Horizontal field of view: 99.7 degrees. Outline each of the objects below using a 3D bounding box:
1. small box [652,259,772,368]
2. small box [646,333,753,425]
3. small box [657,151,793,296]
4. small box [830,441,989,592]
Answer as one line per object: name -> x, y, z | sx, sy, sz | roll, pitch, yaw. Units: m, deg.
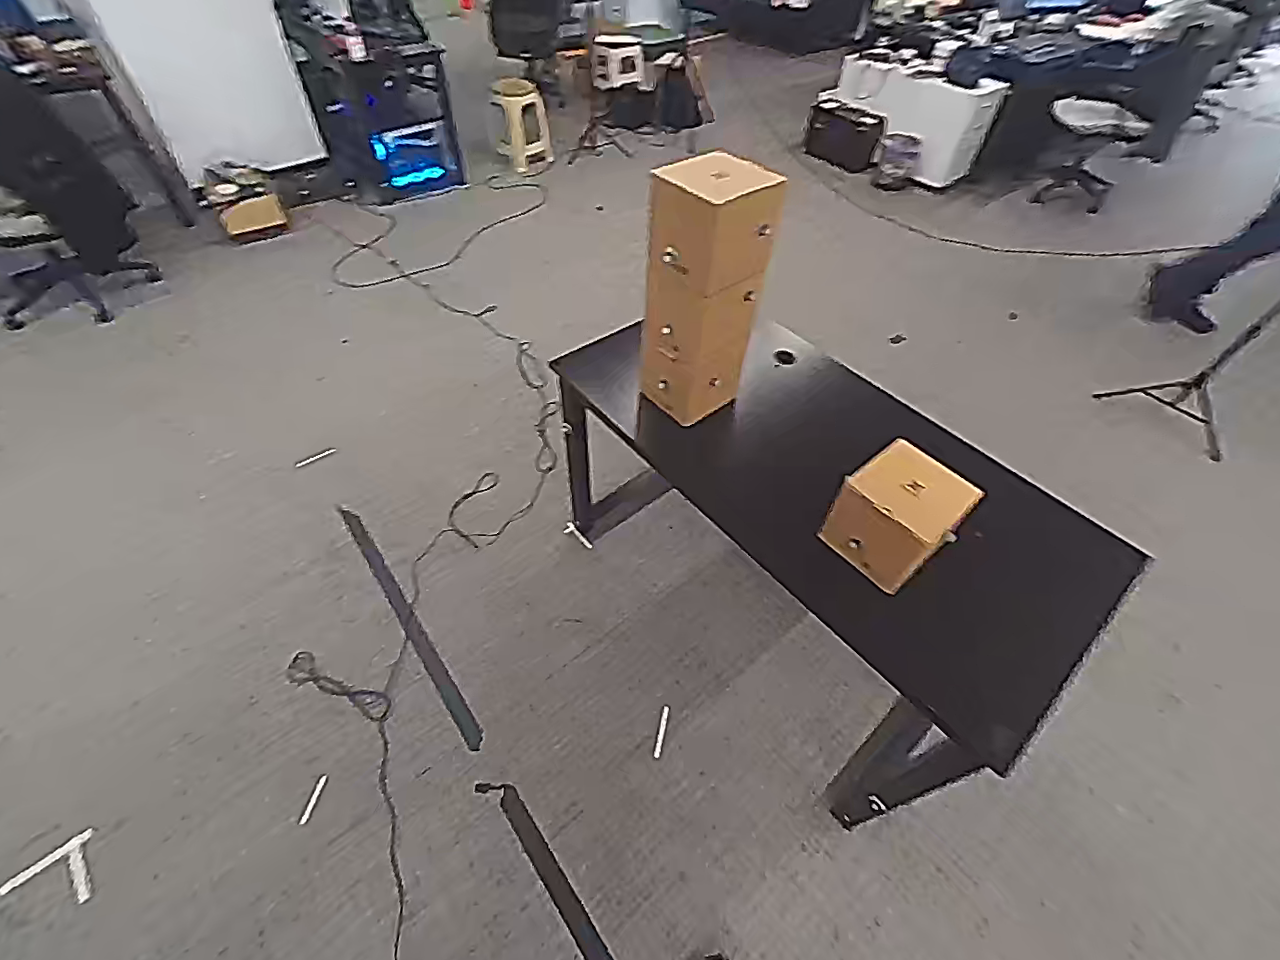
small box -> 0.138, -0.363, 1.109 | 0.179, 0.176, 0.168 | -32, 58, -26
small box -> 0.131, -0.257, 1.236 | 0.179, 0.176, 0.168 | -33, 59, -26
small box -> 0.144, -0.466, 0.983 | 0.179, 0.176, 0.168 | -33, 58, -26
small box -> 0.477, 0.067, 0.984 | 0.179, 0.176, 0.168 | -32, 58, -25
